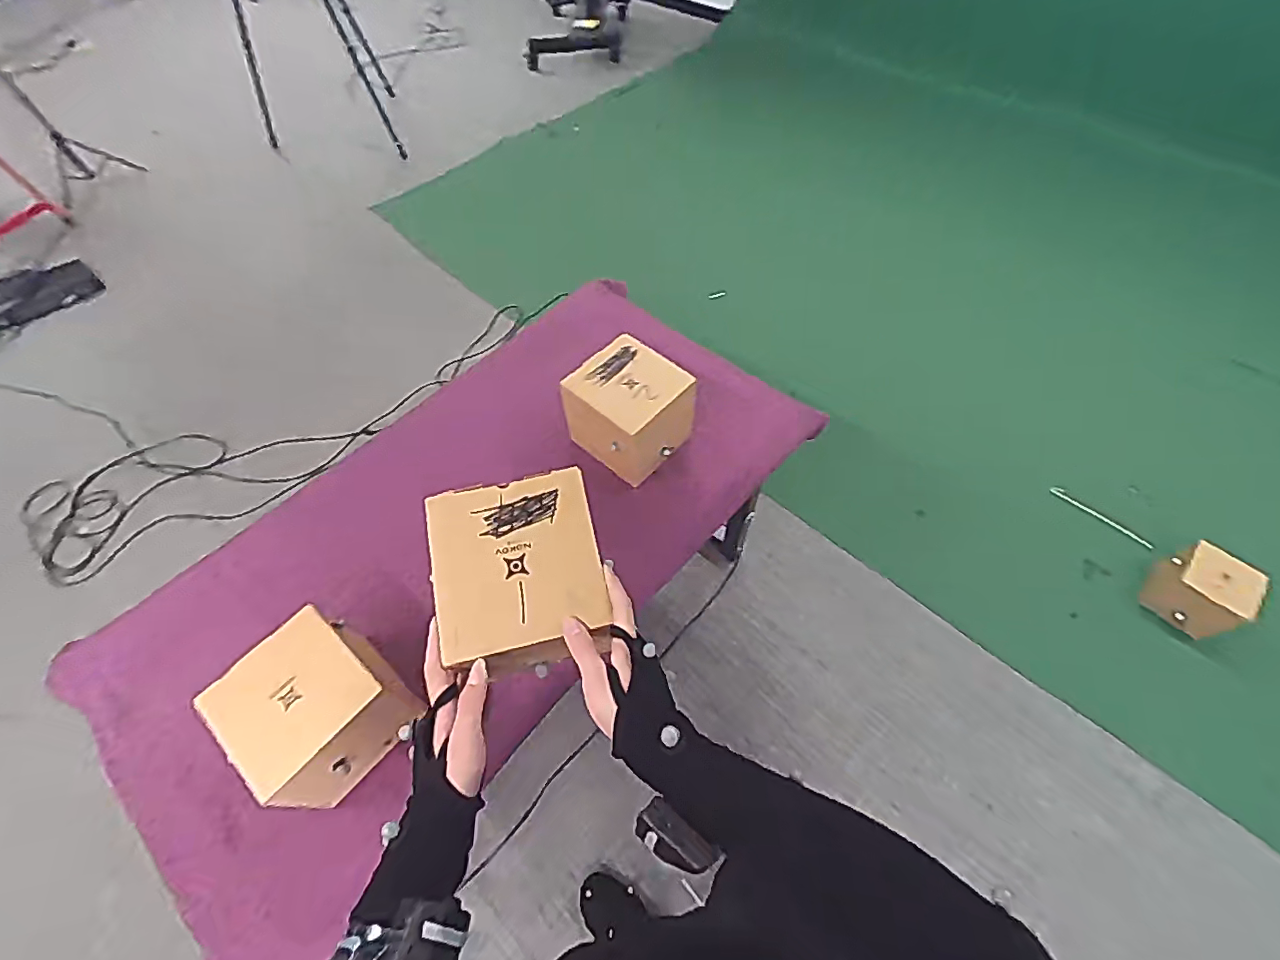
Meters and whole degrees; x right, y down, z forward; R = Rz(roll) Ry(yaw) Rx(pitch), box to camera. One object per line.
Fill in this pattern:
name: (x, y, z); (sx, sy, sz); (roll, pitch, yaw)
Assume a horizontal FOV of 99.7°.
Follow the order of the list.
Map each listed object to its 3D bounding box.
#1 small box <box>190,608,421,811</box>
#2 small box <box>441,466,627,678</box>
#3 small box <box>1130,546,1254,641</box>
small box: (-0.432, 0.310, 0.729); (0.179, 0.176, 0.168); (34, 64, 22)
small box: (-0.115, 0.110, 0.610); (0.168, 0.176, 0.179); (-11, 66, -8)
small box: (1.572, 0.329, 1.551); (0.168, 0.176, 0.179); (39, 66, 23)
